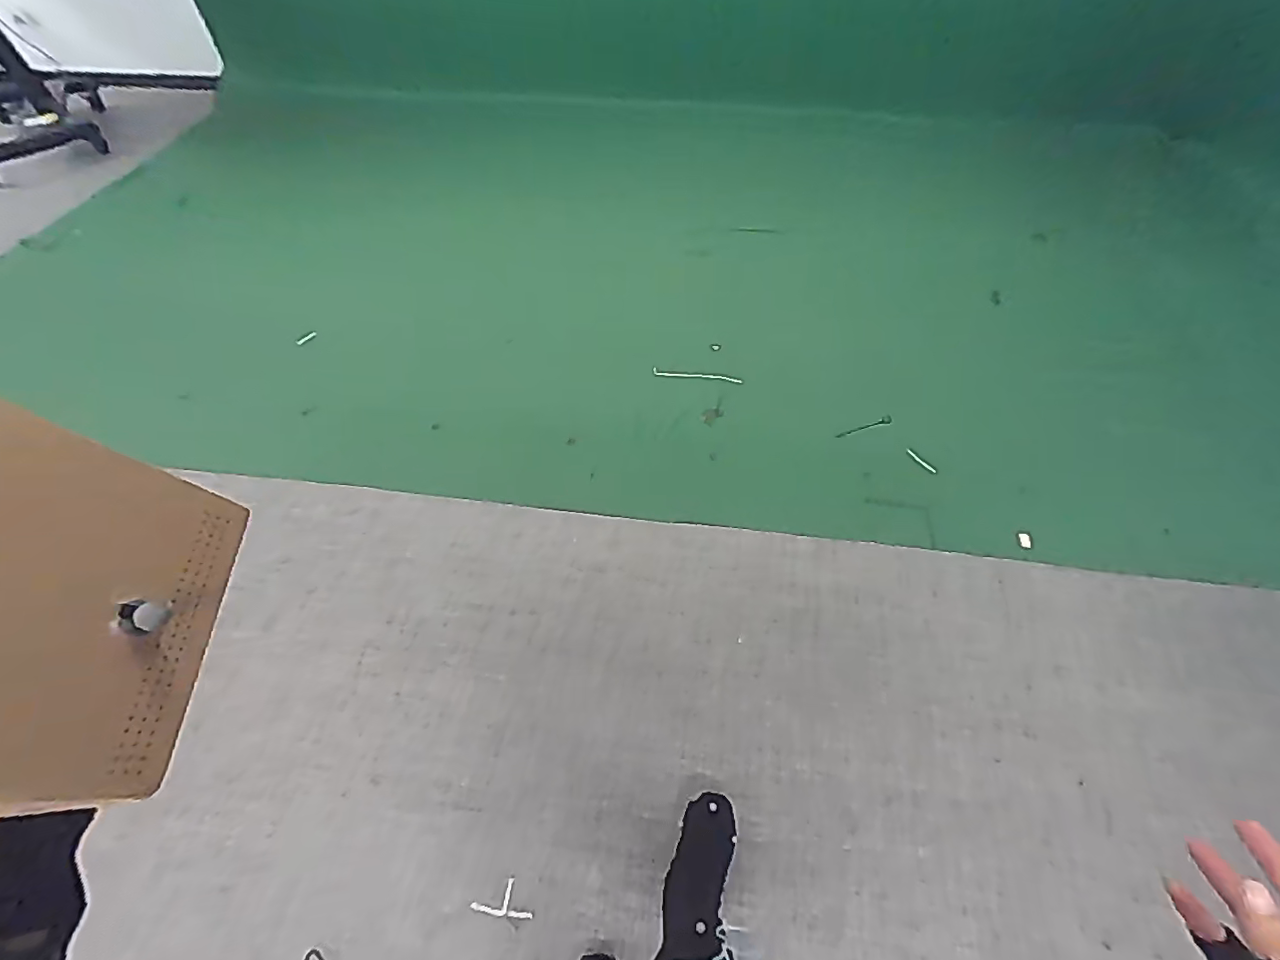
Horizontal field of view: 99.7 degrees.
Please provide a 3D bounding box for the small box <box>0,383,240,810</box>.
[{"bbox_3d":[-0.359,0.070,0.280,0.168,0.176,0.179,-14,59,15],"label":"small box"}]
